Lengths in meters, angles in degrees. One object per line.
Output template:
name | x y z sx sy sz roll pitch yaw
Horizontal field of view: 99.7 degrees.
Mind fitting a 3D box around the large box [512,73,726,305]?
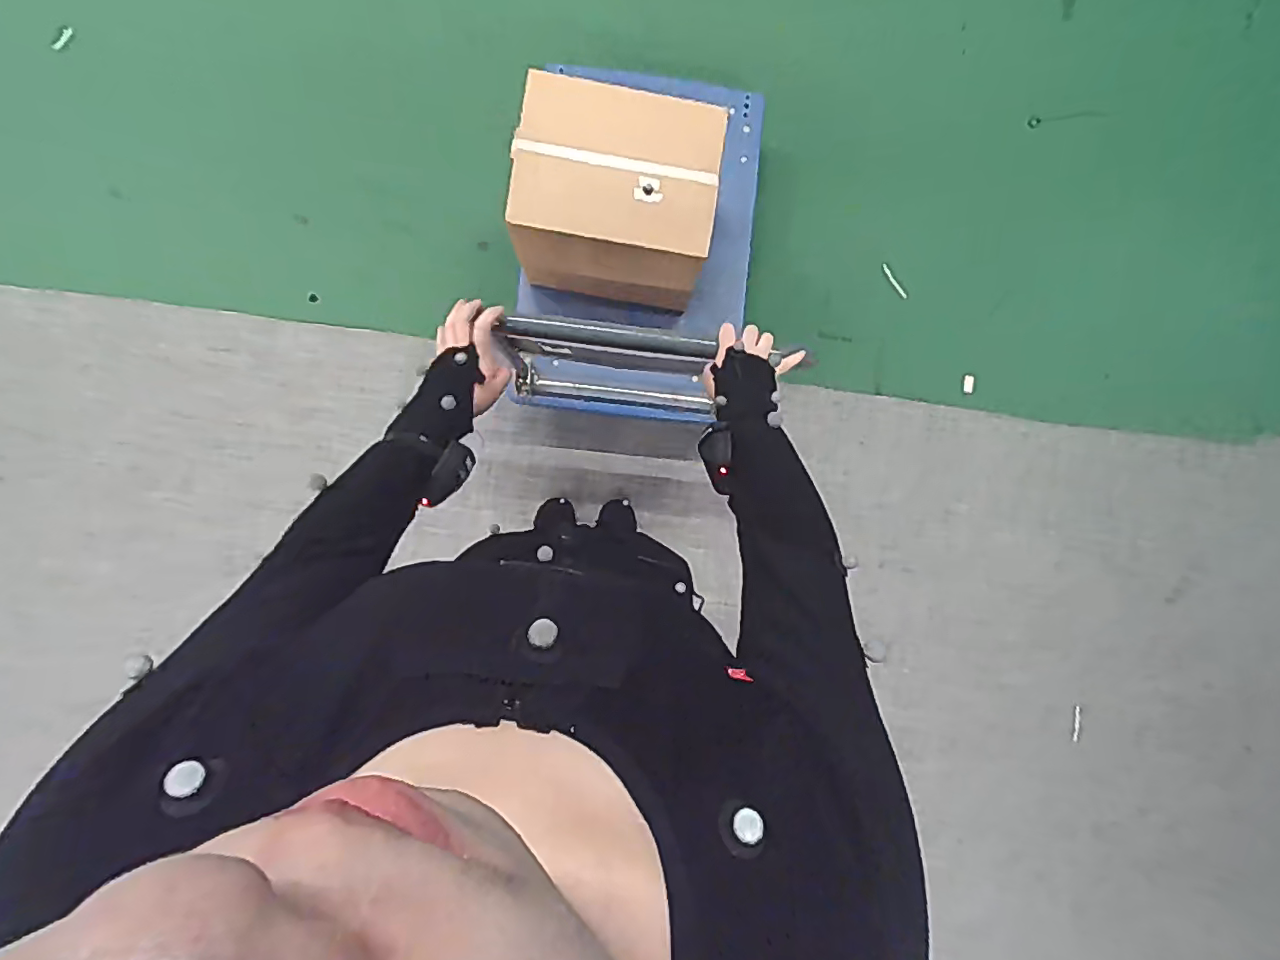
large box | -0.053 -0.628 1.229 0.408 0.320 0.320 9 88 -4
